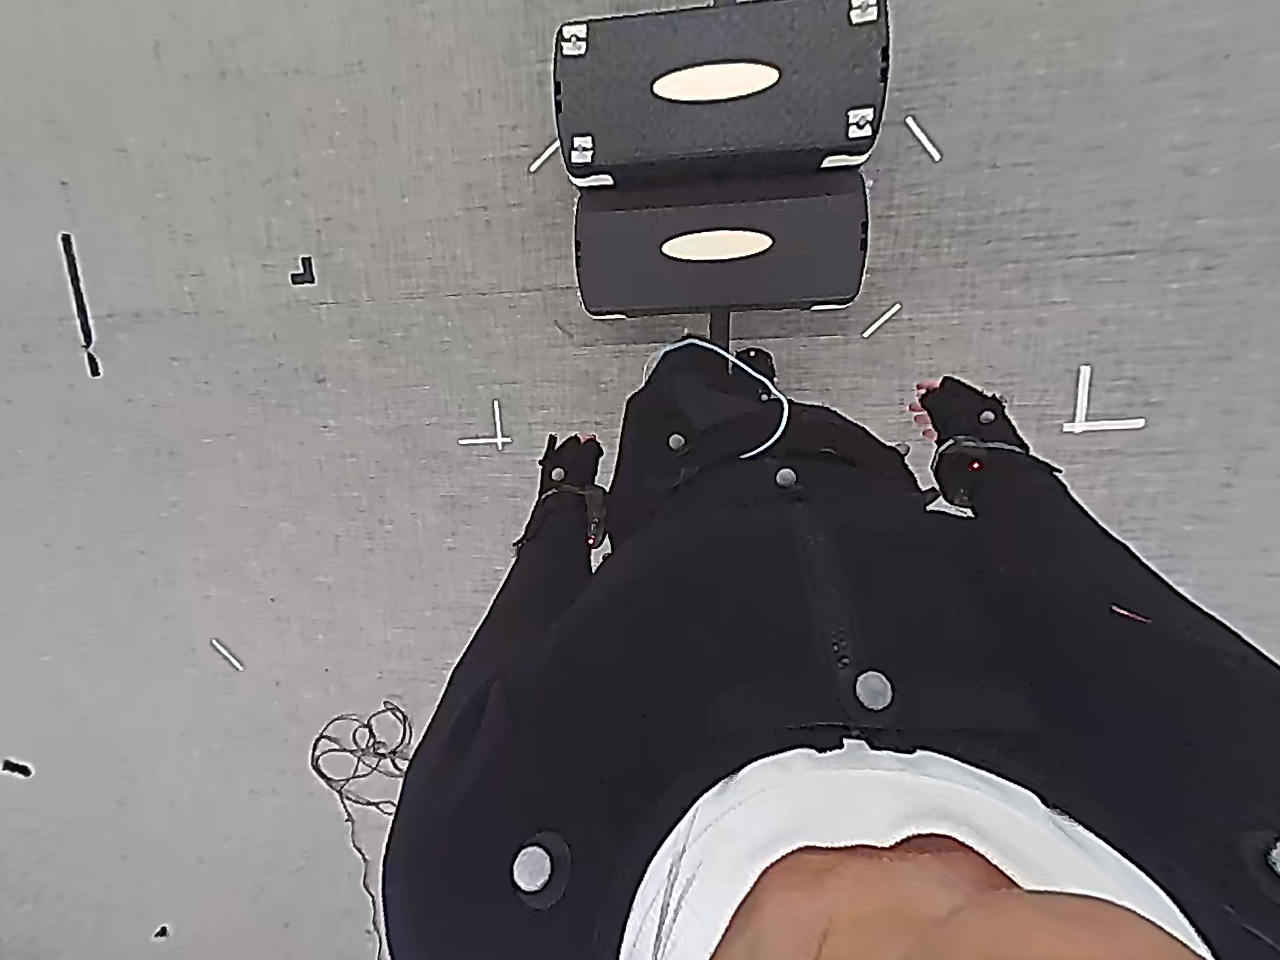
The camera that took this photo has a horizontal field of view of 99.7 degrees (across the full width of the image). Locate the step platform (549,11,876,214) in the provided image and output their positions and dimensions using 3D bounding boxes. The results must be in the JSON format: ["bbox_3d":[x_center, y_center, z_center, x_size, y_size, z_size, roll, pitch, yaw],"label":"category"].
[{"bbox_3d":[0.145,-0.784,1.186,0.684,0.204,0.286,-2,103,7],"label":"step platform"}]
